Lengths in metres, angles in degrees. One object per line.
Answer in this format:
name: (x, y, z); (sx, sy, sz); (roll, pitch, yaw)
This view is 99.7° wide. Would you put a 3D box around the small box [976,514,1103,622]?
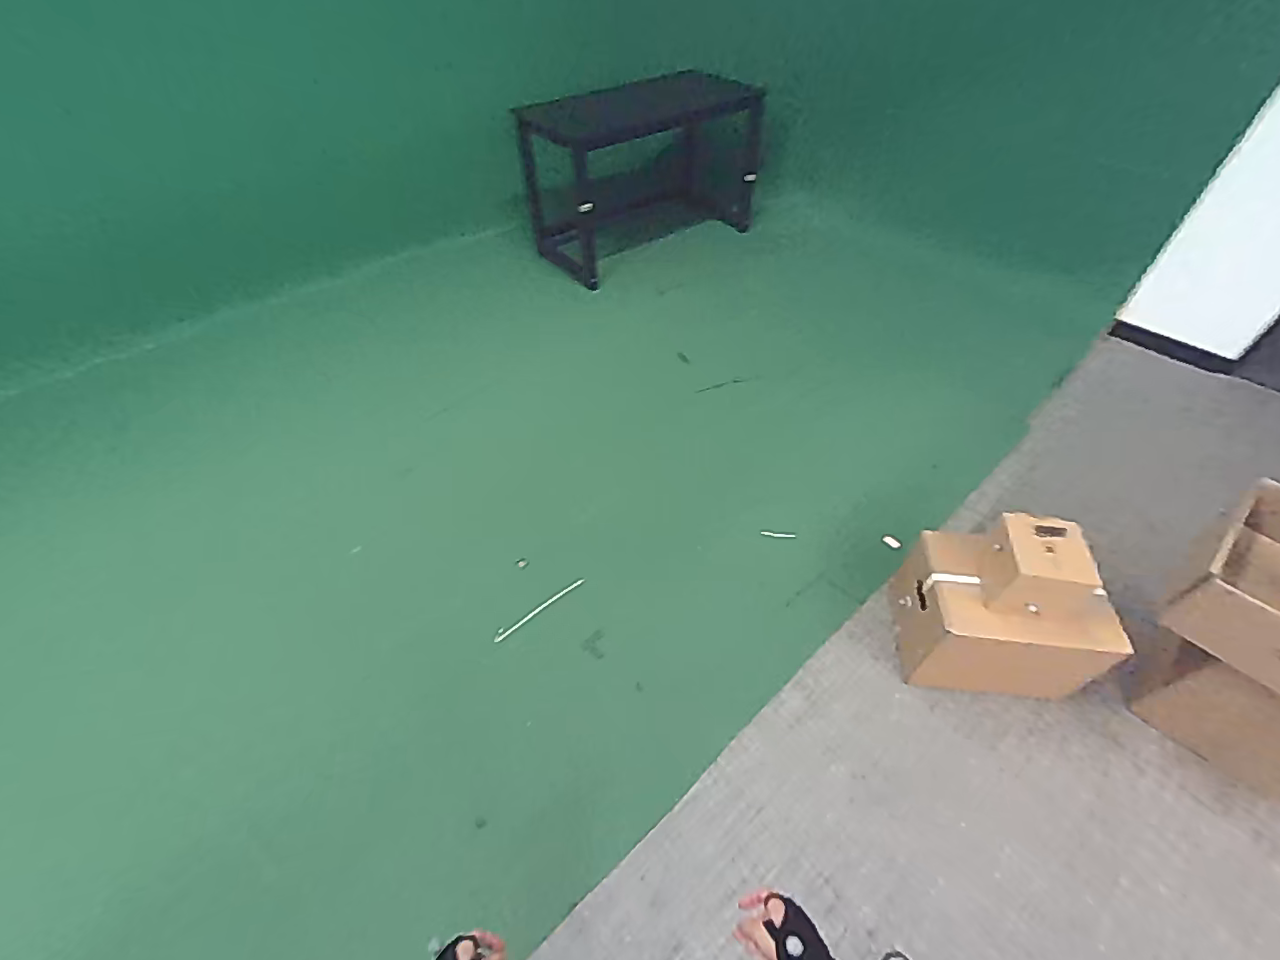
small box: (0.923, 0.207, 1.273); (0.168, 0.176, 0.179); (7, 49, 9)
